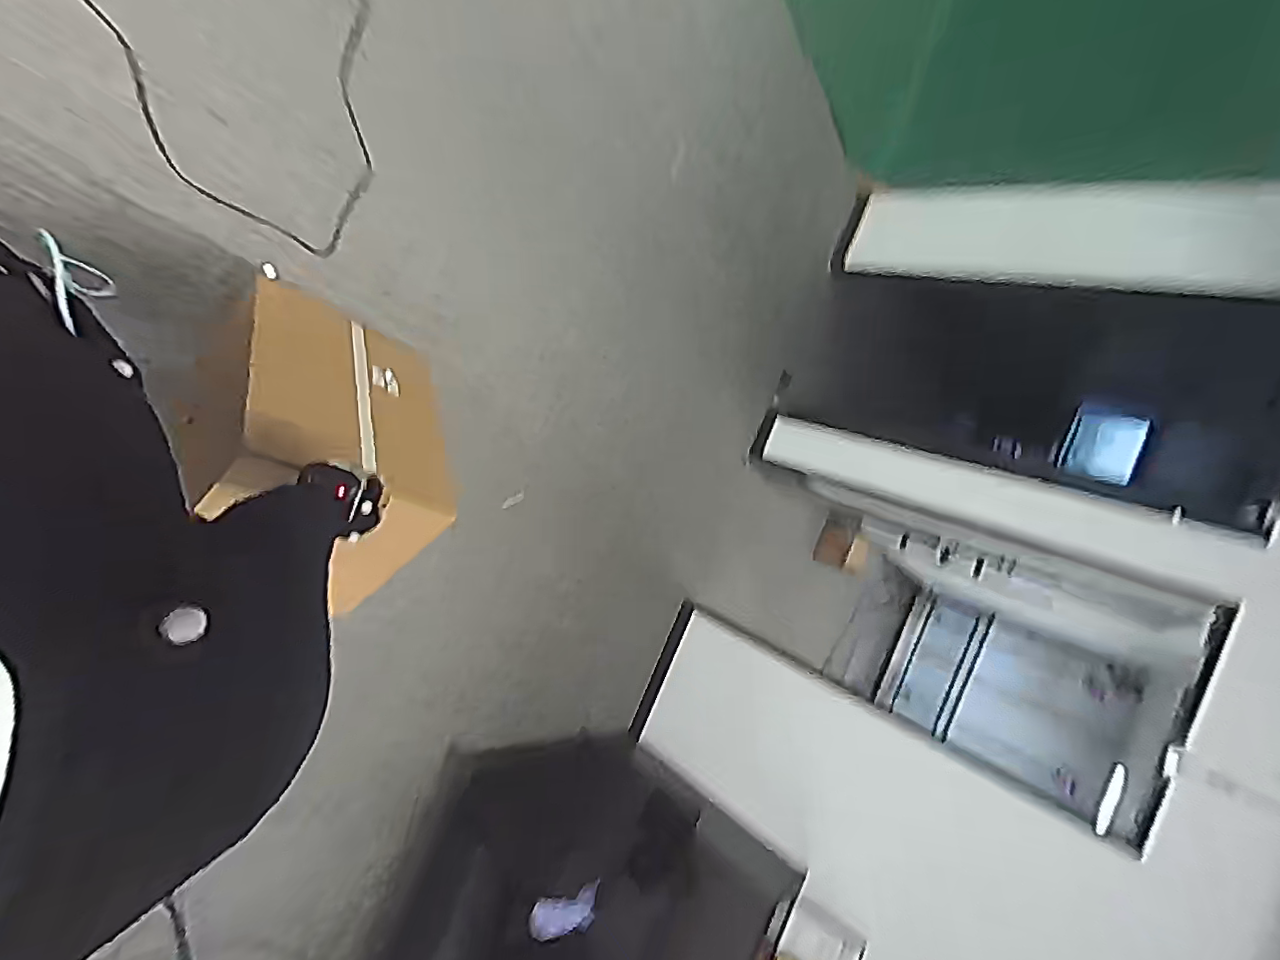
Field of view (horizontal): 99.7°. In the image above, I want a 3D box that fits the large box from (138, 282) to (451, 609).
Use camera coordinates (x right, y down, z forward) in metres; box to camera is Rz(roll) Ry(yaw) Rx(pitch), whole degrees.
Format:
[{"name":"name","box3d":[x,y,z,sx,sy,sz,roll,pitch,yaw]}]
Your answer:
[{"name":"large box","box3d":[-0.575,-0.042,0.926,0.320,0.408,0.320,-39,142,17]}]
